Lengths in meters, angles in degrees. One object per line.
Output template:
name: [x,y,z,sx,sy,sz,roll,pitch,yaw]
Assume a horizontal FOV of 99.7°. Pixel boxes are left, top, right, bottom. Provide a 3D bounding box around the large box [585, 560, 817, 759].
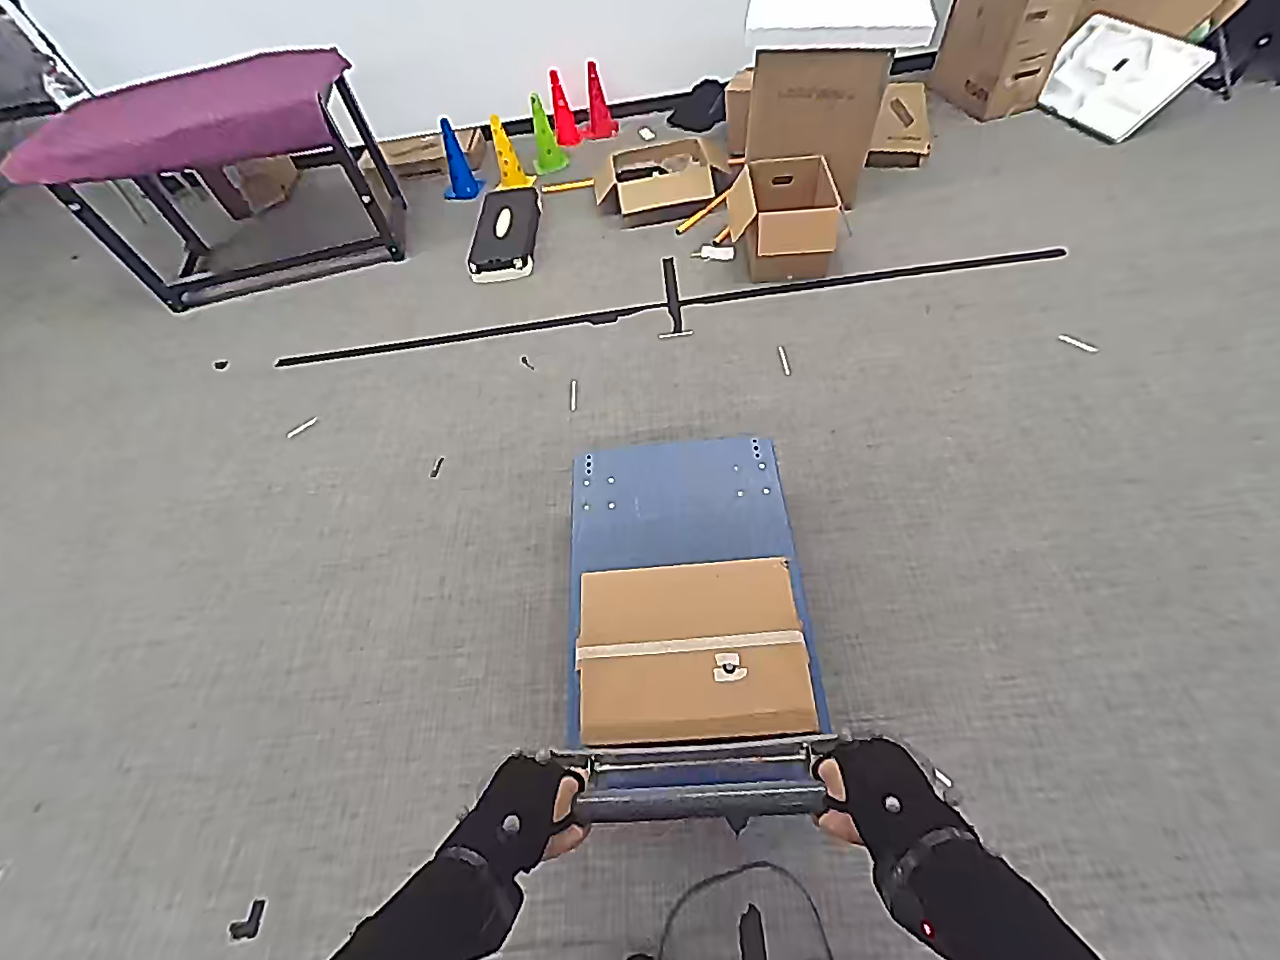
large box: [0.108,0.386,1.130,0.408,0.320,0.320,-5,59,3]
